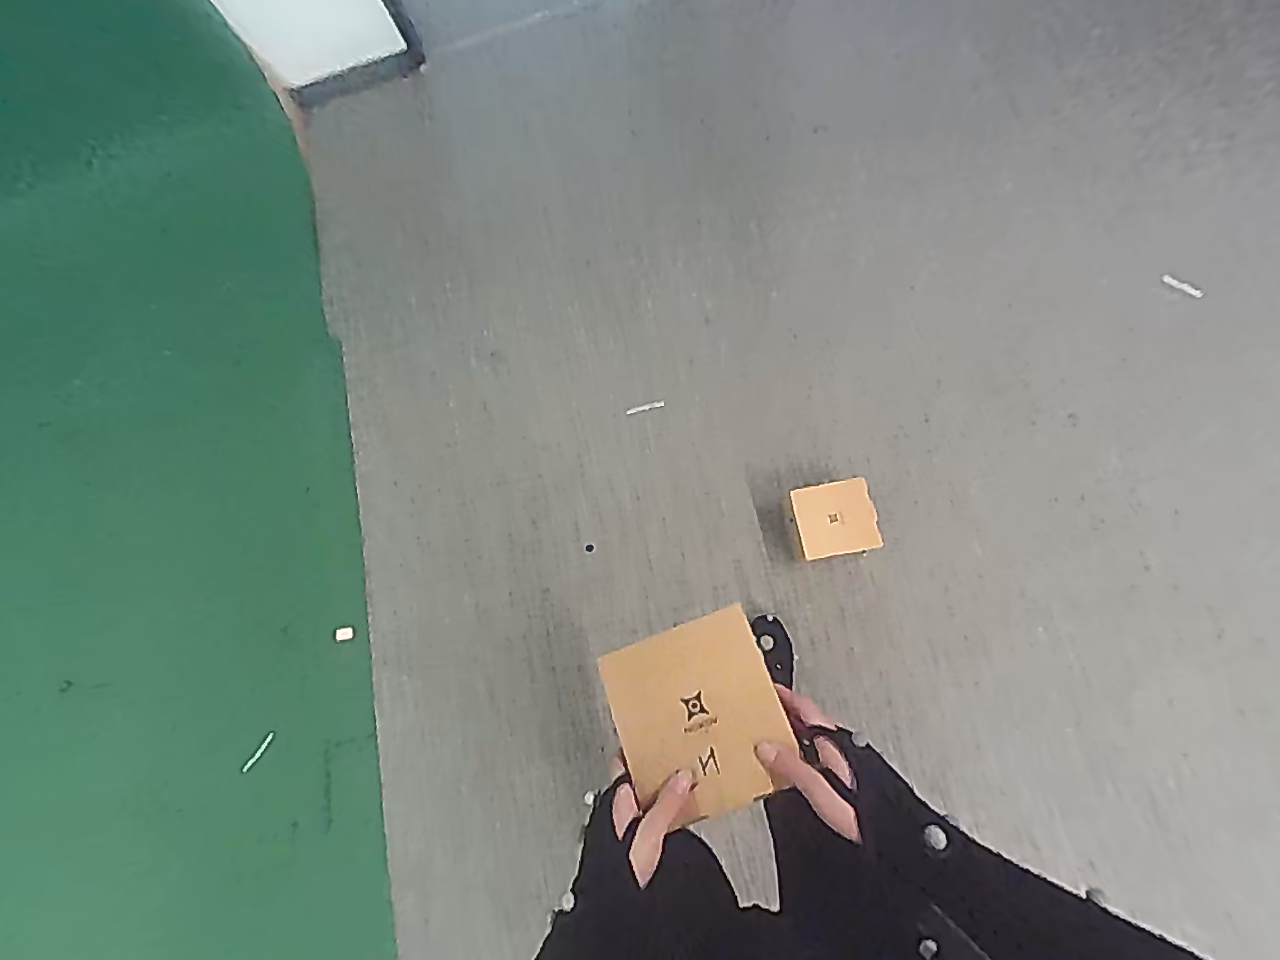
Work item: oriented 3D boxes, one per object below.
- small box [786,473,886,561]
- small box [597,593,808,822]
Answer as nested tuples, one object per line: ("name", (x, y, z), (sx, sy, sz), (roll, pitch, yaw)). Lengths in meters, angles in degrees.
("small box", (0.455, 0.094, 1.288), (0.179, 0.176, 0.168), (-12, 76, 5))
("small box", (0.070, 0.245, 0.608), (0.168, 0.176, 0.179), (-22, 69, 6))
